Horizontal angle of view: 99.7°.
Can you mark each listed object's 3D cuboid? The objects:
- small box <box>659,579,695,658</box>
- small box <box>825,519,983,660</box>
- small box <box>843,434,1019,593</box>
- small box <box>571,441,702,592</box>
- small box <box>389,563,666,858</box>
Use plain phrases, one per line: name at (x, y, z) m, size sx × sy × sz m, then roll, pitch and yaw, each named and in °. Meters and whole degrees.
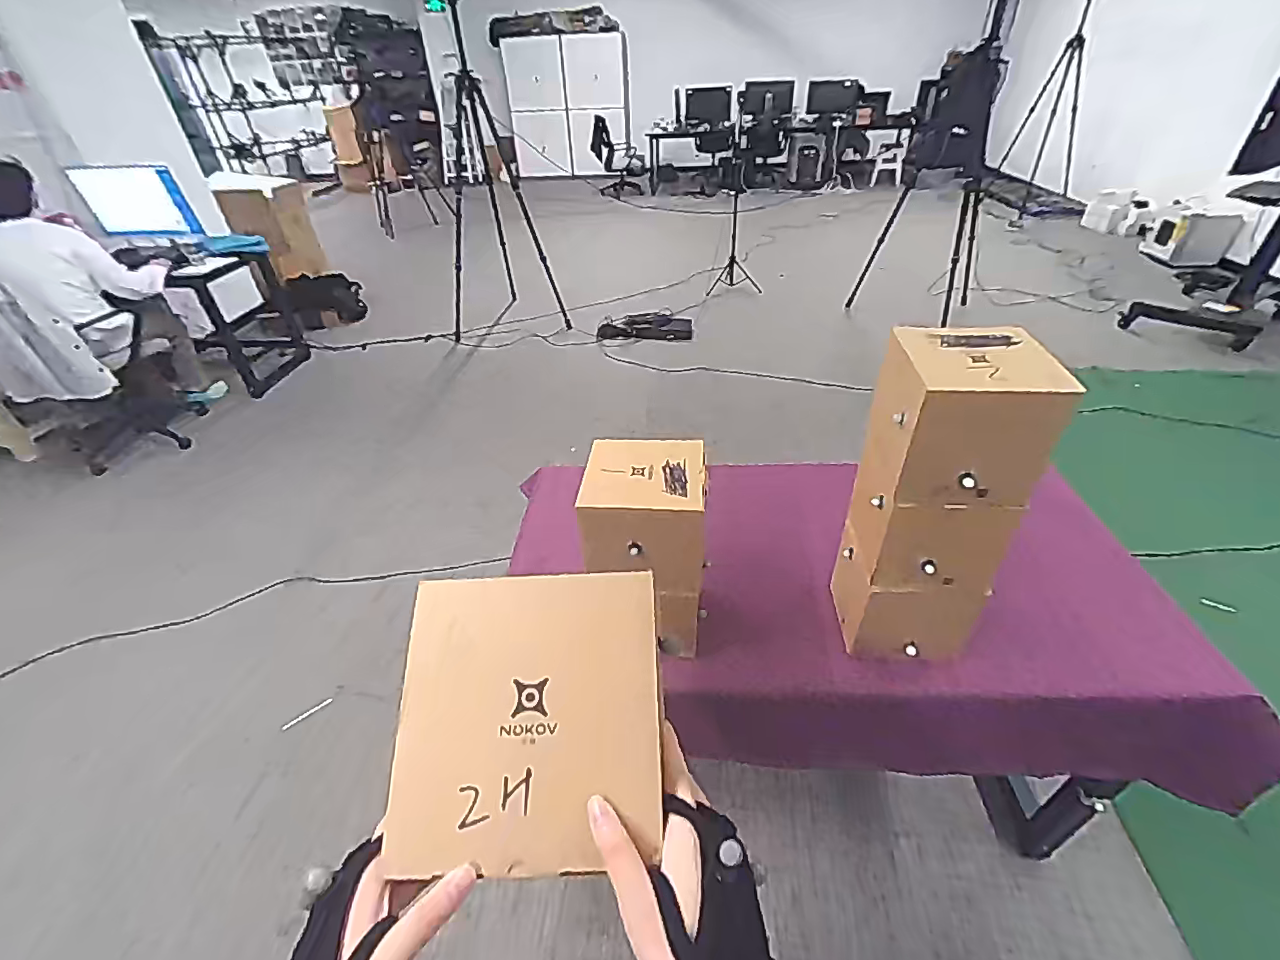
small box at (0.005, 0.187, 0.931) m, size 0.179 × 0.176 × 0.168 m, roll 2°, pitch 39°, yaw 6°
small box at (0.426, 0.183, 0.907) m, size 0.179 × 0.176 × 0.168 m, roll 2°, pitch 37°, yaw 5°
small box at (0.418, 0.048, 0.816) m, size 0.168 × 0.176 × 0.179 m, roll 1°, pitch 39°, yaw 6°
small box at (0.005, 0.057, 0.833) m, size 0.179 × 0.176 × 0.168 m, roll 0°, pitch 38°, yaw 7°
small box at (-0.065, 0.172, 0.422) m, size 0.168 × 0.176 × 0.179 m, roll -3°, pitch 67°, yaw 3°
